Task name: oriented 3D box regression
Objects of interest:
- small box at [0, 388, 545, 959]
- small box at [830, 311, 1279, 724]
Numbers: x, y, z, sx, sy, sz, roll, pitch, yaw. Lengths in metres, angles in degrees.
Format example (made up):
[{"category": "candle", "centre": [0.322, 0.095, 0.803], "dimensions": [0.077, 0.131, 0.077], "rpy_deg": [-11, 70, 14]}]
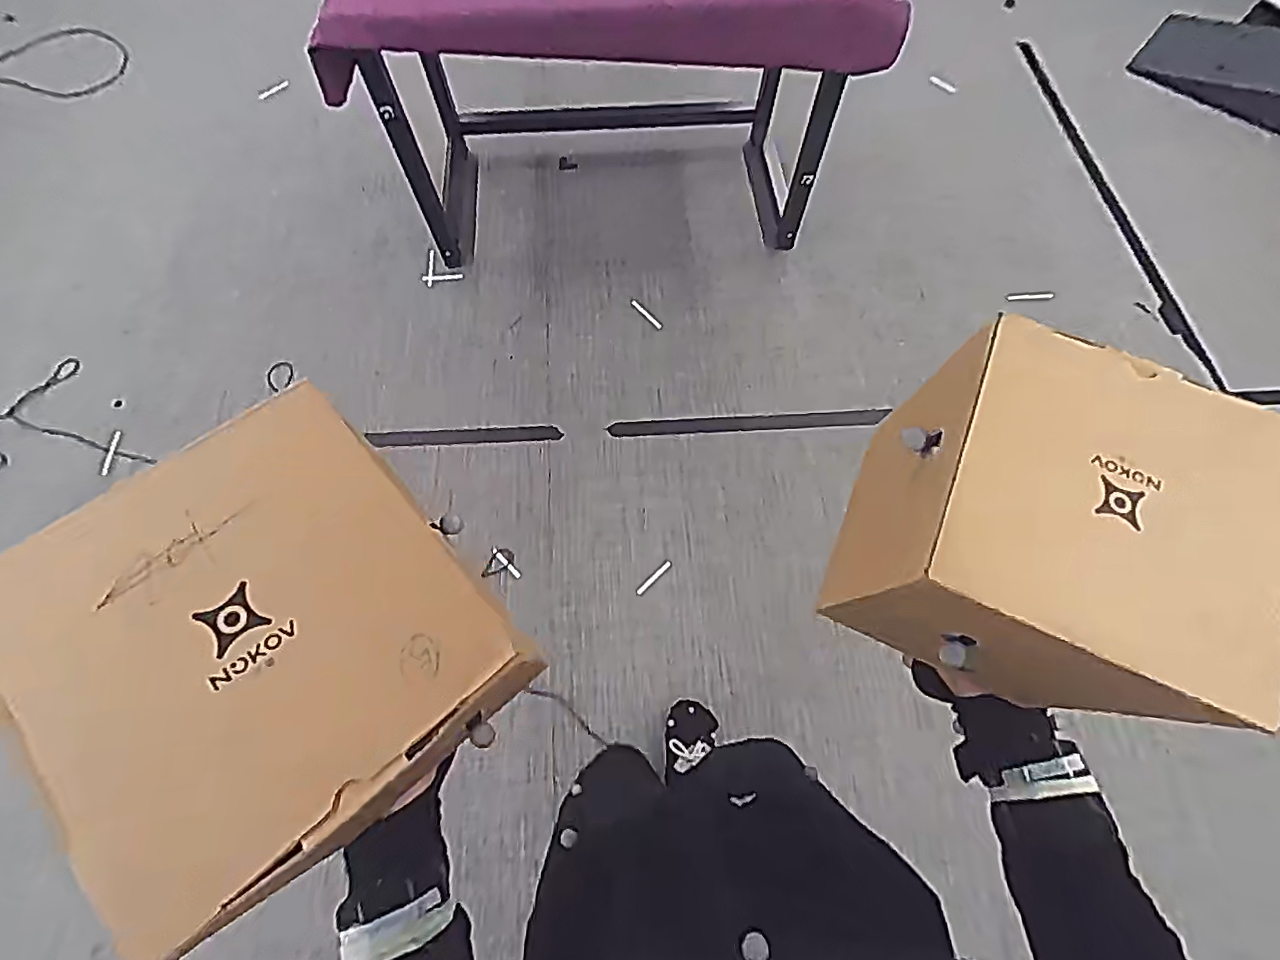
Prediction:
[{"category": "small box", "centre": [-0.169, 0.090, 0.301], "dimensions": [0.168, 0.176, 0.179], "rpy_deg": [-40, 78, -18]}, {"category": "small box", "centre": [0.246, 0.033, 0.355], "dimensions": [0.168, 0.176, 0.179], "rpy_deg": [24, 71, 7]}]
